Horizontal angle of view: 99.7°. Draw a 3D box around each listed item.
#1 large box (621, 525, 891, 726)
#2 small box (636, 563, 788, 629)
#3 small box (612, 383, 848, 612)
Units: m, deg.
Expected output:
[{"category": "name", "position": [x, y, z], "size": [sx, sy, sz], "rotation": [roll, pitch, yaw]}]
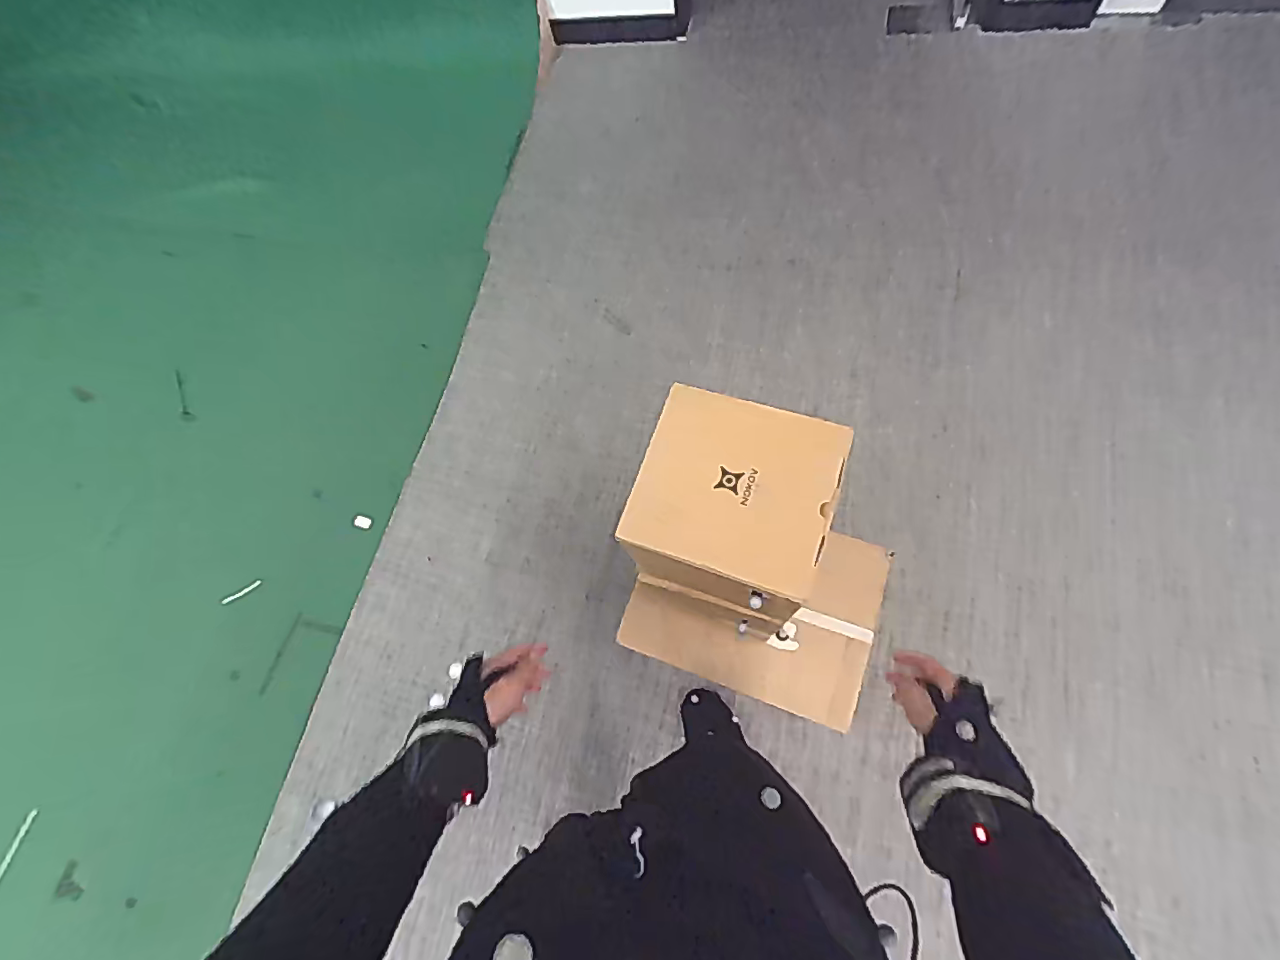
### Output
[{"category": "large box", "position": [0.219, 0.247, 1.072], "size": [0.408, 0.320, 0.320], "rotation": [16, 75, 15]}, {"category": "small box", "position": [0.113, 0.090, 0.710], "size": [0.179, 0.176, 0.168], "rotation": [13, 72, 15]}, {"category": "small box", "position": [0.093, 0.027, 0.560], "size": [0.179, 0.176, 0.168], "rotation": [17, 73, 14]}]
